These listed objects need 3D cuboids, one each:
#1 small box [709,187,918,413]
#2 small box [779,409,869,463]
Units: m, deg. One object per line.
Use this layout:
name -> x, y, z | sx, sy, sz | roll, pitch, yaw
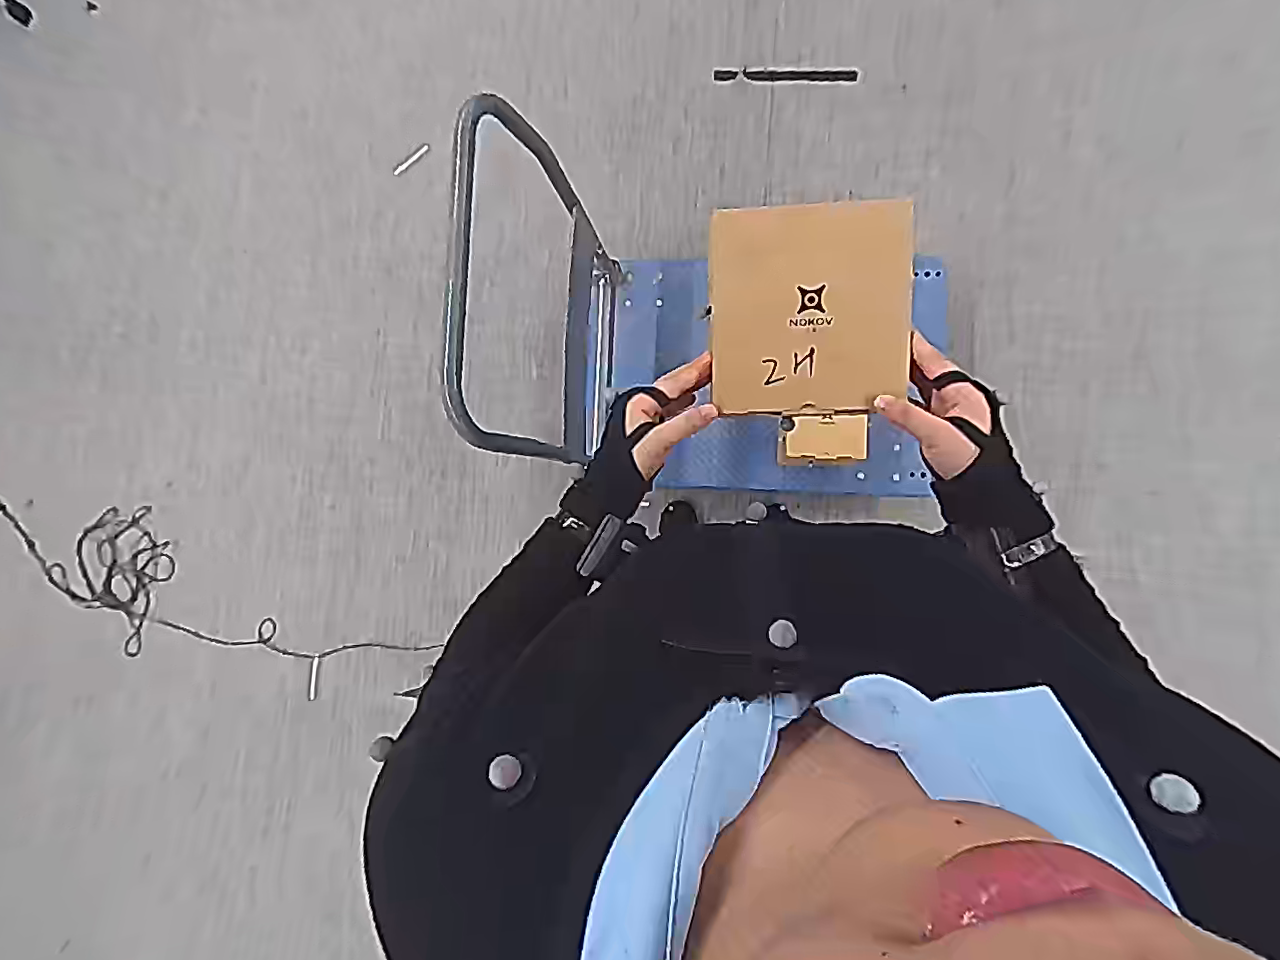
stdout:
small box -> 0.153, -0.157, 0.529 | 0.168, 0.176, 0.179 | 0, 96, 8
small box -> 0.407, -0.135, 1.216 | 0.168, 0.176, 0.179 | 2, 88, 8
